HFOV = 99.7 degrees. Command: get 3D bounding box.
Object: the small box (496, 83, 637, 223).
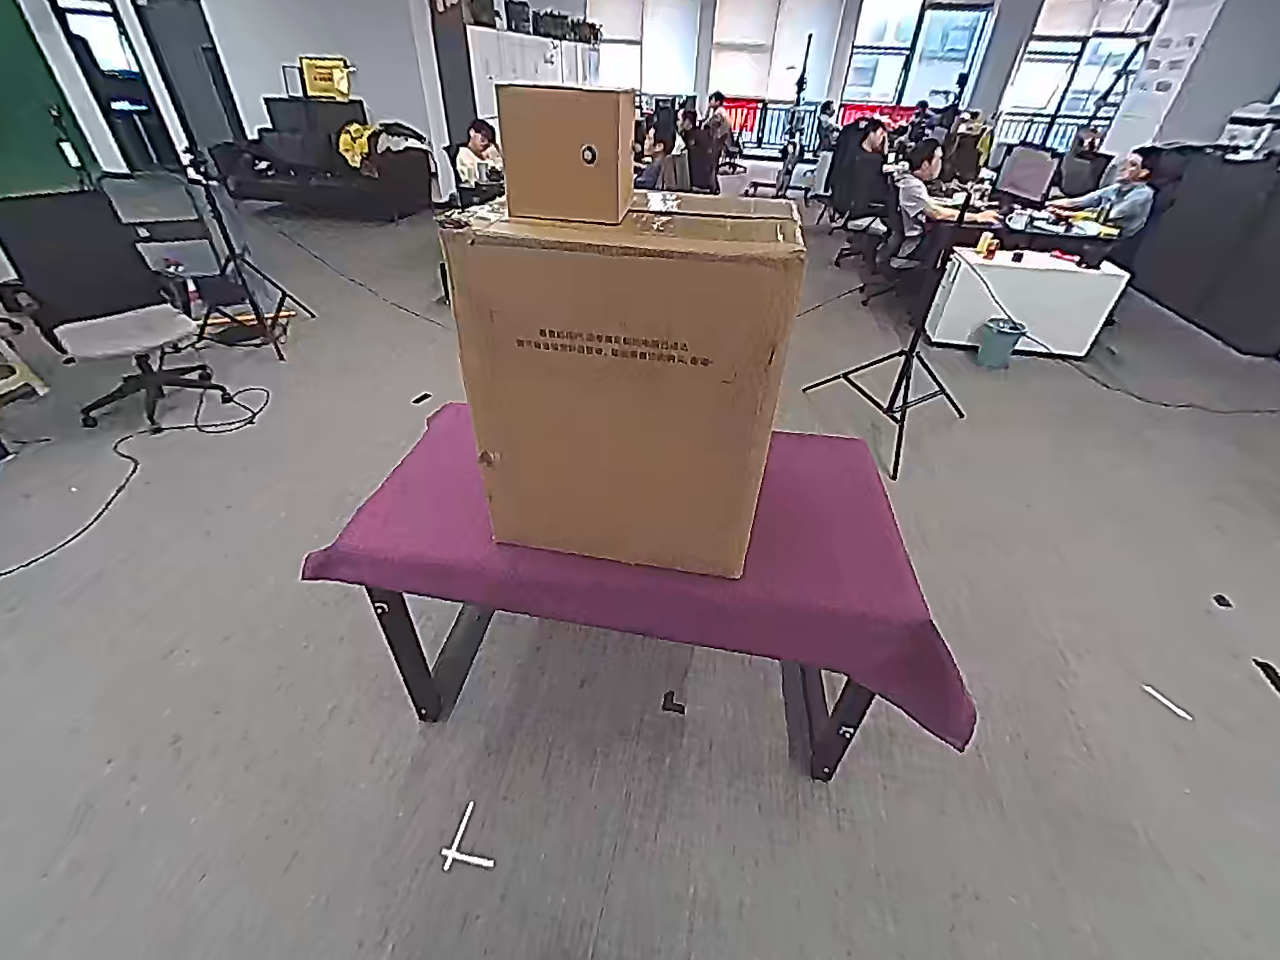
[{"bbox_3d":[-0.103,-0.506,0.838,0.179,0.176,0.168,5,36,4],"label":"small box"}]
